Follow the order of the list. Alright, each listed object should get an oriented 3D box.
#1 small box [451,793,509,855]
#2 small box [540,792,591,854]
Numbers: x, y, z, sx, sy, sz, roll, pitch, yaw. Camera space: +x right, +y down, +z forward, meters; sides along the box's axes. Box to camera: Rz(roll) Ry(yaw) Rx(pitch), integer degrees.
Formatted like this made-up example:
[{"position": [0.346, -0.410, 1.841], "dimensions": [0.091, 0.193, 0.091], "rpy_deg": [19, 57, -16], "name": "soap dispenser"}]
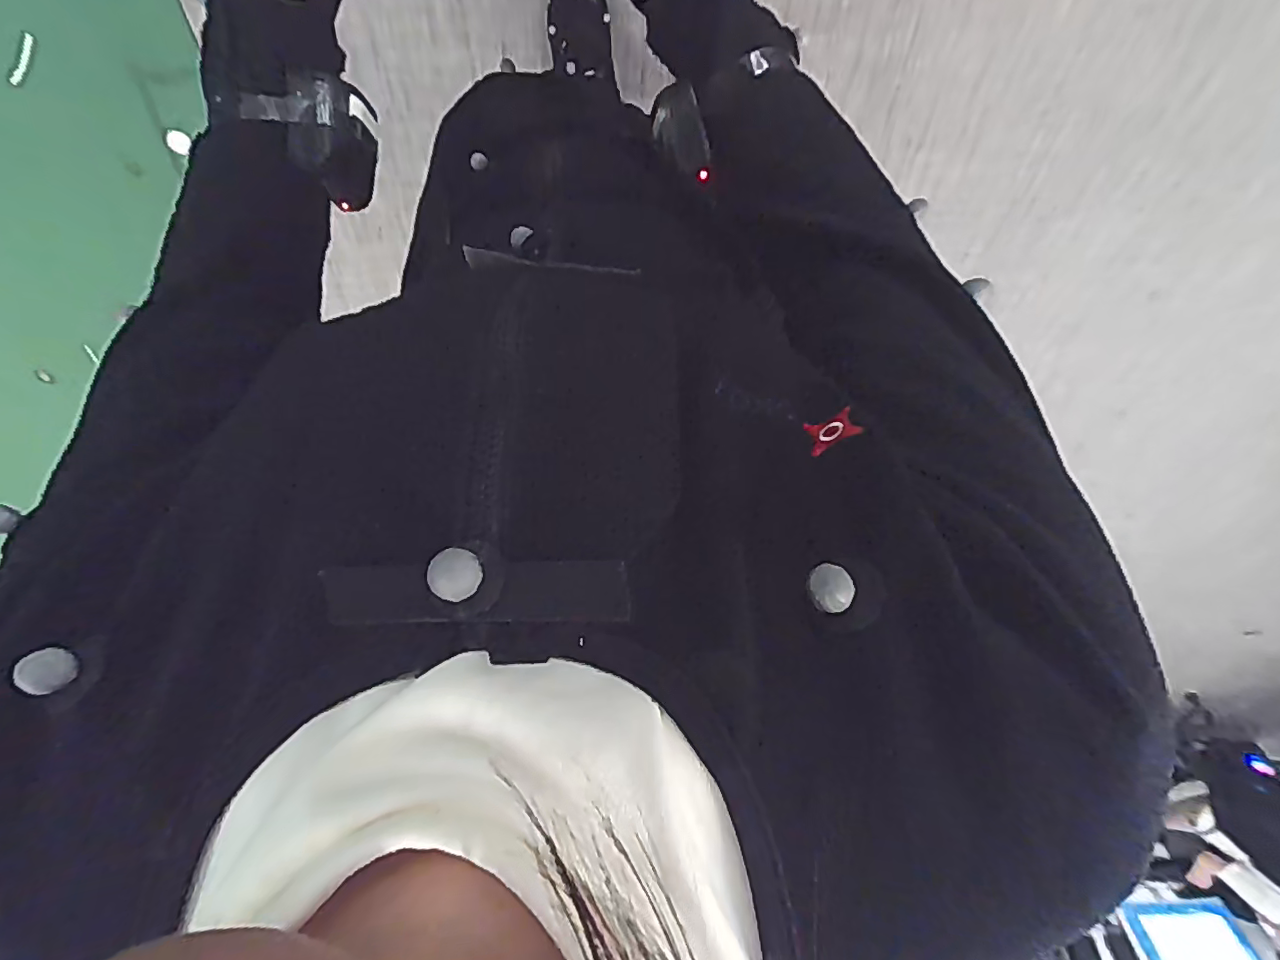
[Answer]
[{"position": [-0.590, 1.286, 2.020], "dimensions": [0.168, 0.176, 0.179], "rpy_deg": [1, 137, -3], "name": "small box"}, {"position": [-0.274, 1.286, 2.029], "dimensions": [0.168, 0.176, 0.179], "rpy_deg": [-3, 135, 0], "name": "small box"}]
